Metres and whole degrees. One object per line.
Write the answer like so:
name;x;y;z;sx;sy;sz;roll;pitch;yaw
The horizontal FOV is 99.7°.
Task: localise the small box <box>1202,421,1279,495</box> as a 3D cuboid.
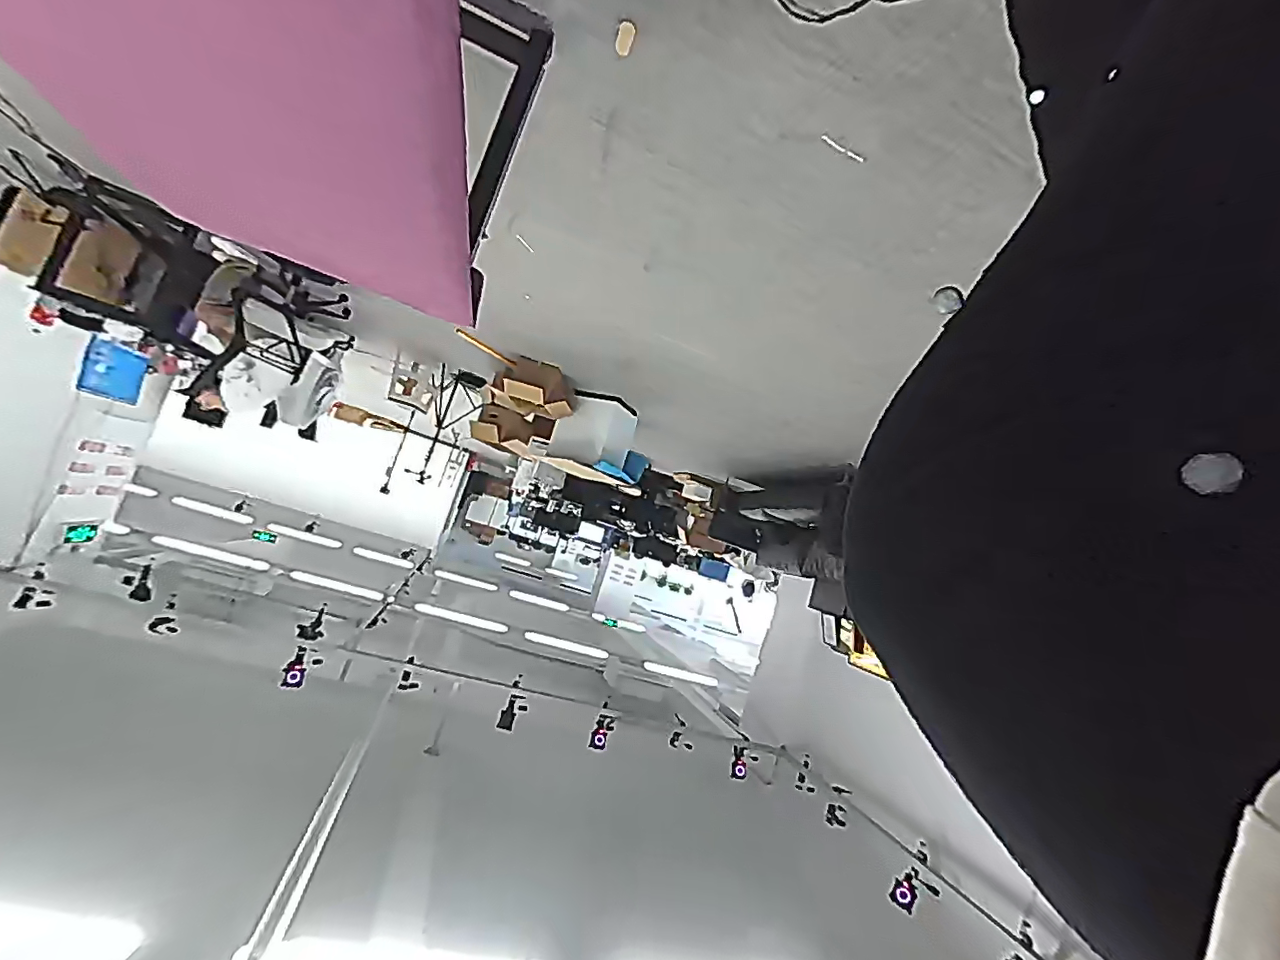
small box;1.807;-0.066;1.581;0.179;0.176;0.168;23;174;-25
